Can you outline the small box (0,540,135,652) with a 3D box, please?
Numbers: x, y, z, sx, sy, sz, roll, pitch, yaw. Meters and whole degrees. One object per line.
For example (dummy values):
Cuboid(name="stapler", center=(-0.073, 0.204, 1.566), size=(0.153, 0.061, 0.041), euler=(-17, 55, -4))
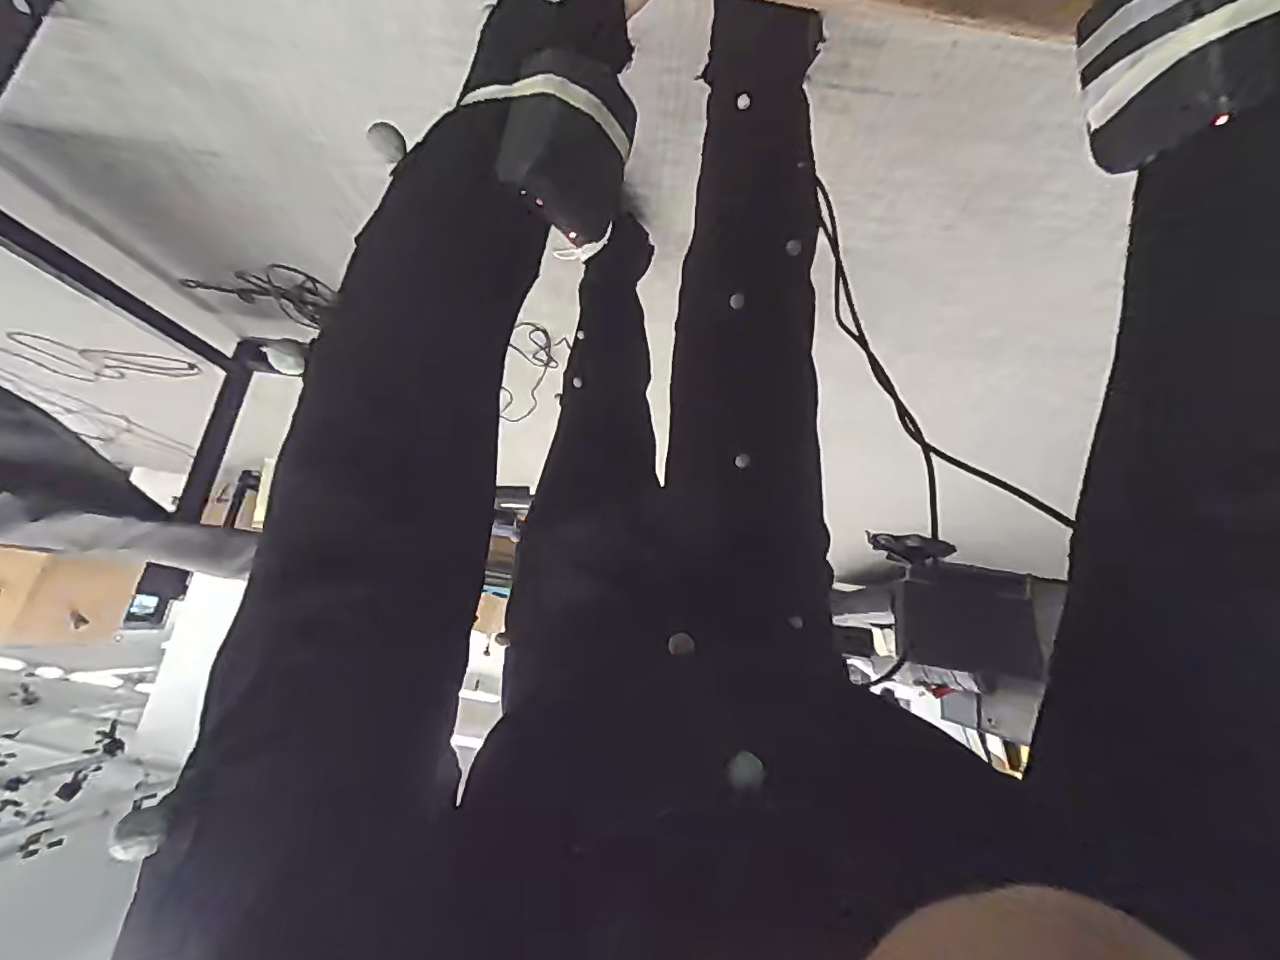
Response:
Cuboid(name="small box", center=(-1.051, 0.198, 0.936), size=(0.168, 0.176, 0.179), euler=(7, 166, 5))
